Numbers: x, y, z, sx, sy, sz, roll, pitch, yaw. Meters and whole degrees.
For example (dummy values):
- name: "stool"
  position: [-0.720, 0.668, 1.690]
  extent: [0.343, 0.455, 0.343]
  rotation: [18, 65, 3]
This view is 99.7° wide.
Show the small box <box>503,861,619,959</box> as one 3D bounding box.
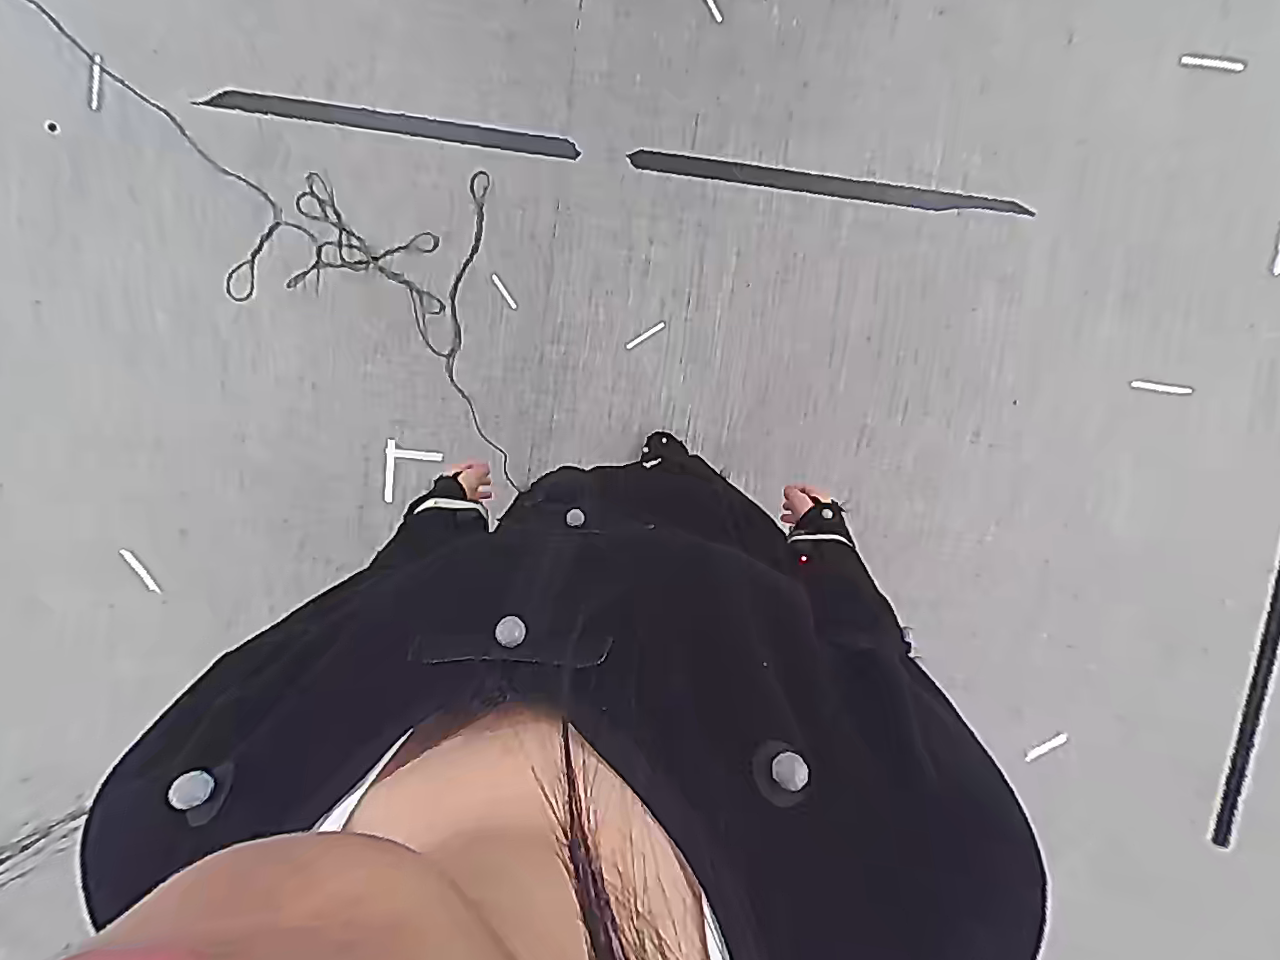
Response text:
- name: "small box"
  position: [-0.132, 0.762, 0.865]
  extent: [0.168, 0.176, 0.179]
  rotation: [13, 95, 1]
